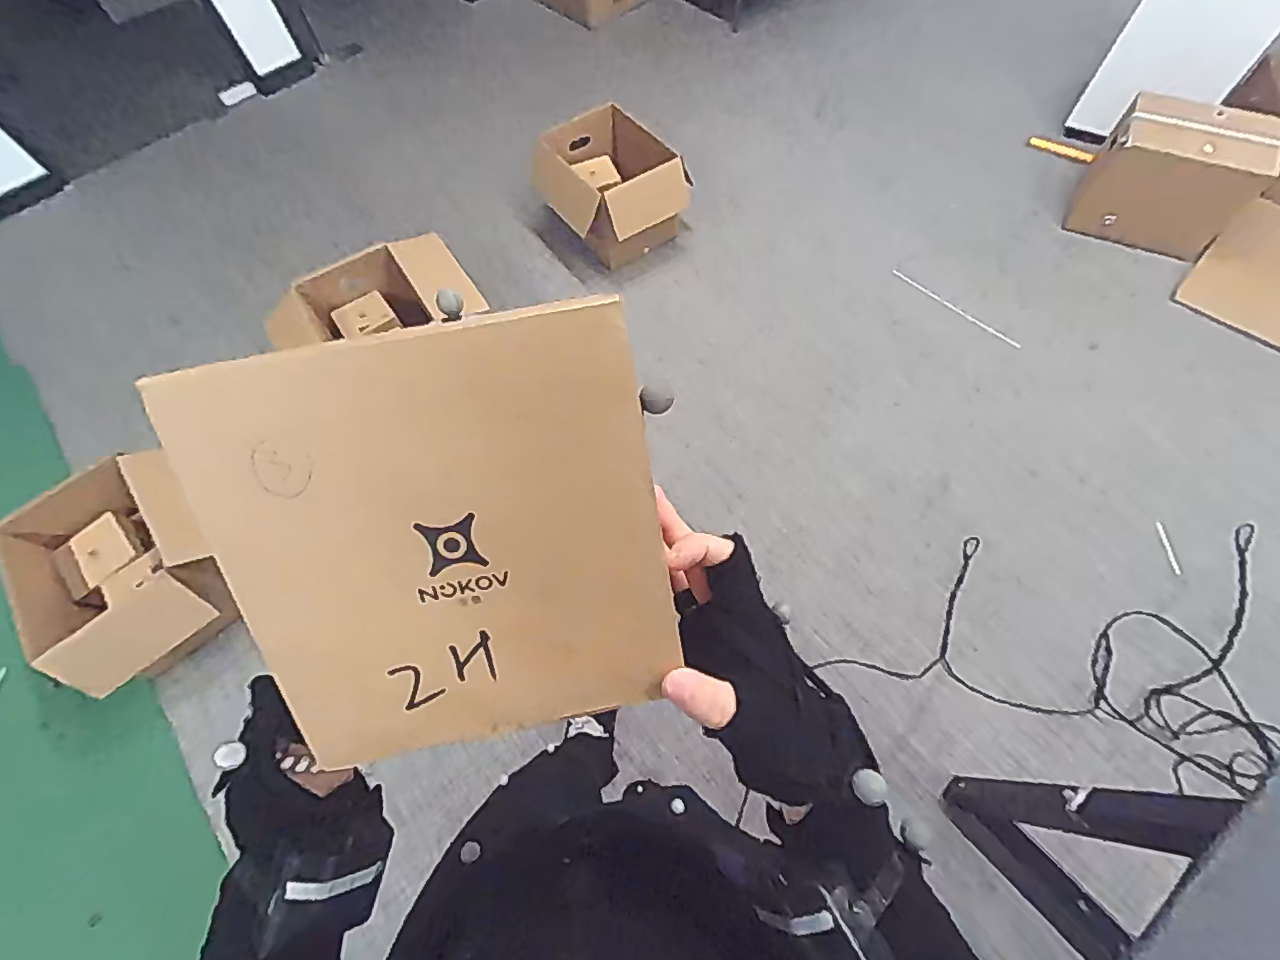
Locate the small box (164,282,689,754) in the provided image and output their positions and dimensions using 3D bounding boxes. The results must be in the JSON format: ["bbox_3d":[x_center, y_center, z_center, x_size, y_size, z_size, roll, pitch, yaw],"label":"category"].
[{"bbox_3d":[-0.078,0.000,0.288,0.168,0.179,0.176,-10,20,-3],"label":"small box"}]
